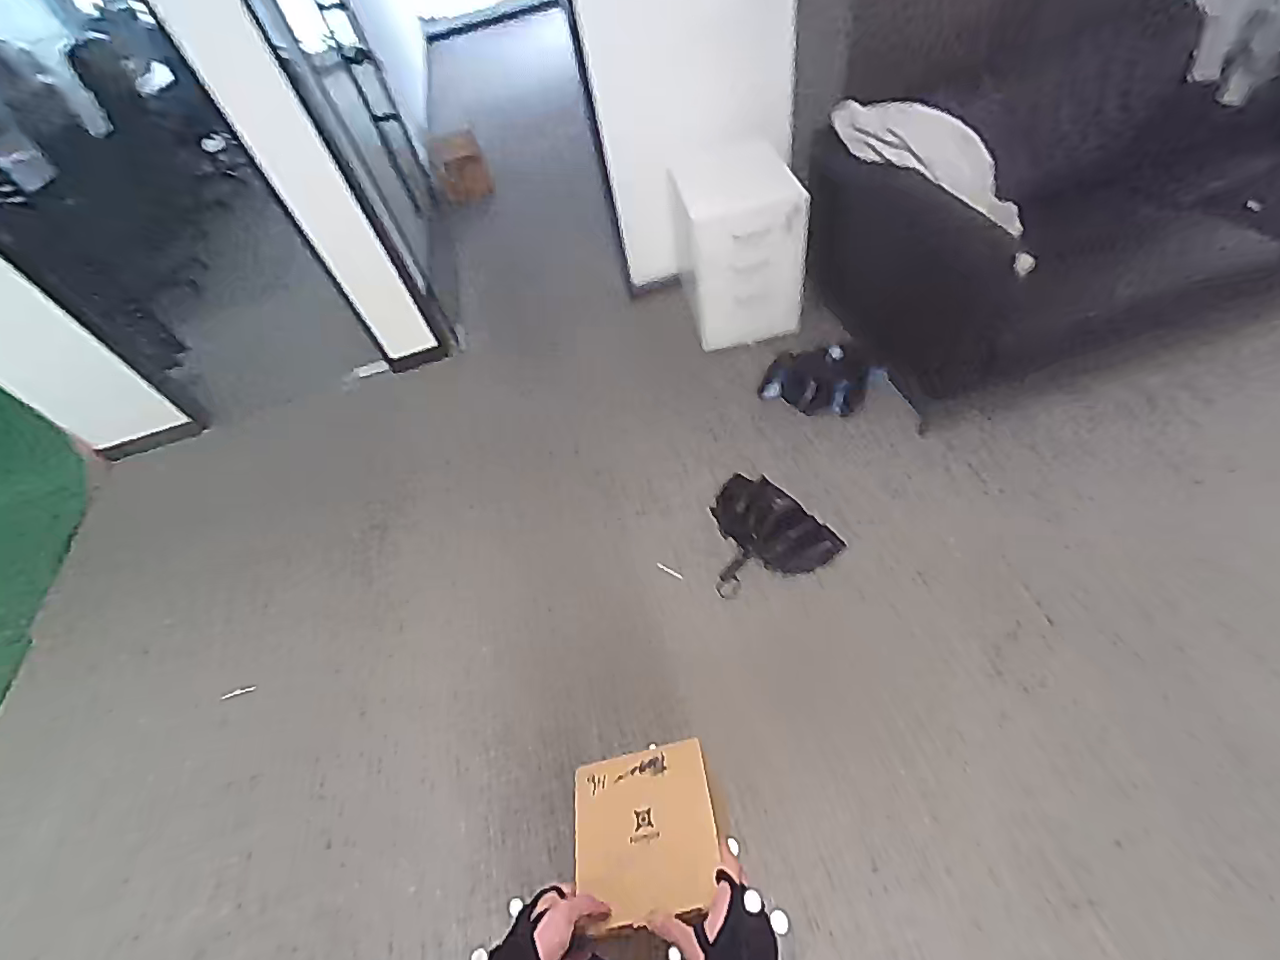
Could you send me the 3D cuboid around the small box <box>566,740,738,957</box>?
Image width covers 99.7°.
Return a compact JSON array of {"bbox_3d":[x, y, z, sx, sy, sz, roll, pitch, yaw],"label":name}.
[{"bbox_3d":[0.014,0.464,0.676,0.168,0.176,0.179,-17,38,5],"label":"small box"}]
